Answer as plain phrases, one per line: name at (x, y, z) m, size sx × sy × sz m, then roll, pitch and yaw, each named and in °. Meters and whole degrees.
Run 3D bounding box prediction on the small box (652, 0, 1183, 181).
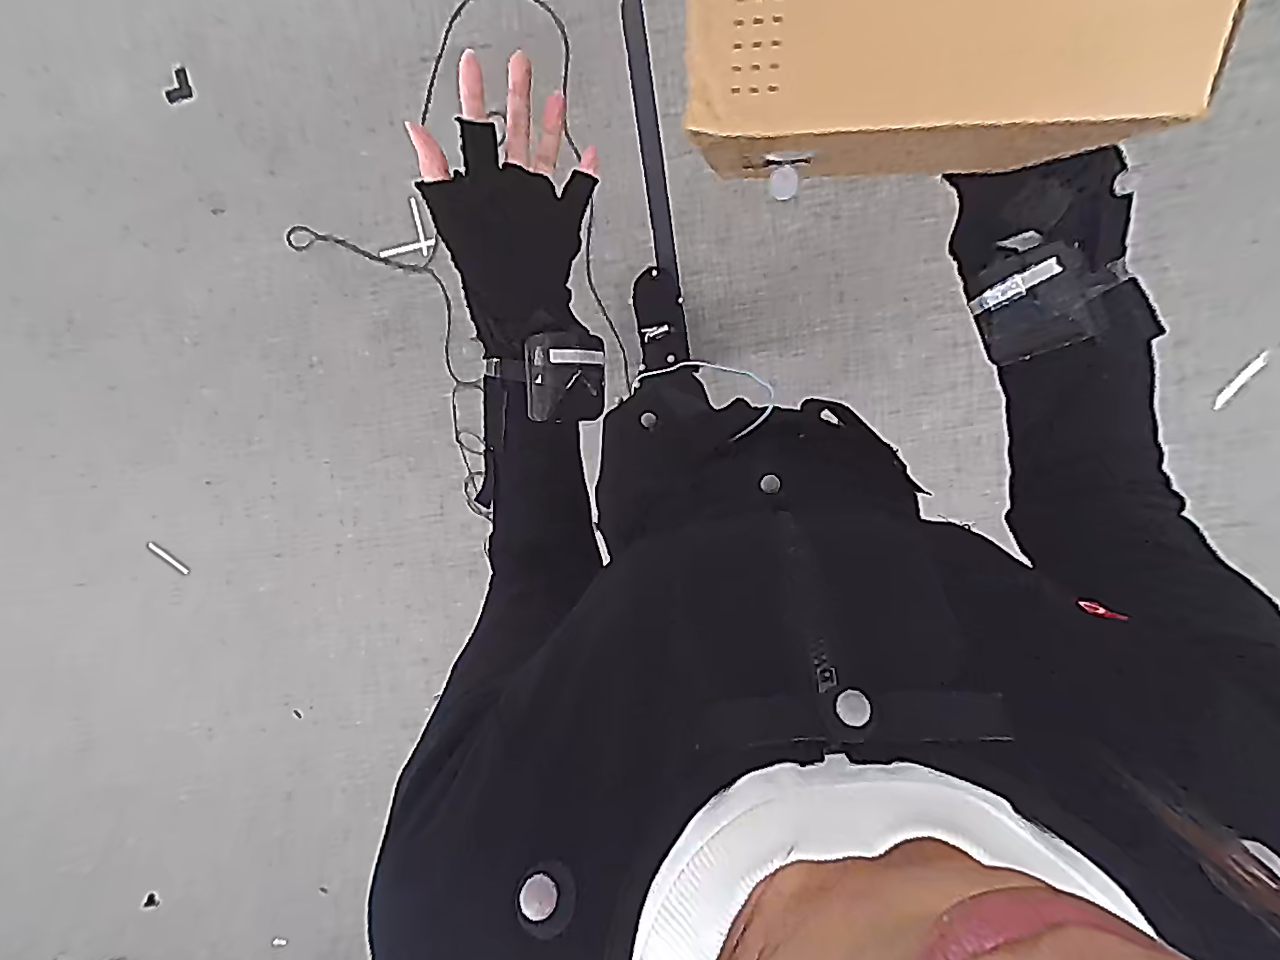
small box at (0.099, -0.237, 0.230) m, size 0.176 × 0.168 × 0.179 m, roll 5°, pitch 115°, yaw 13°
